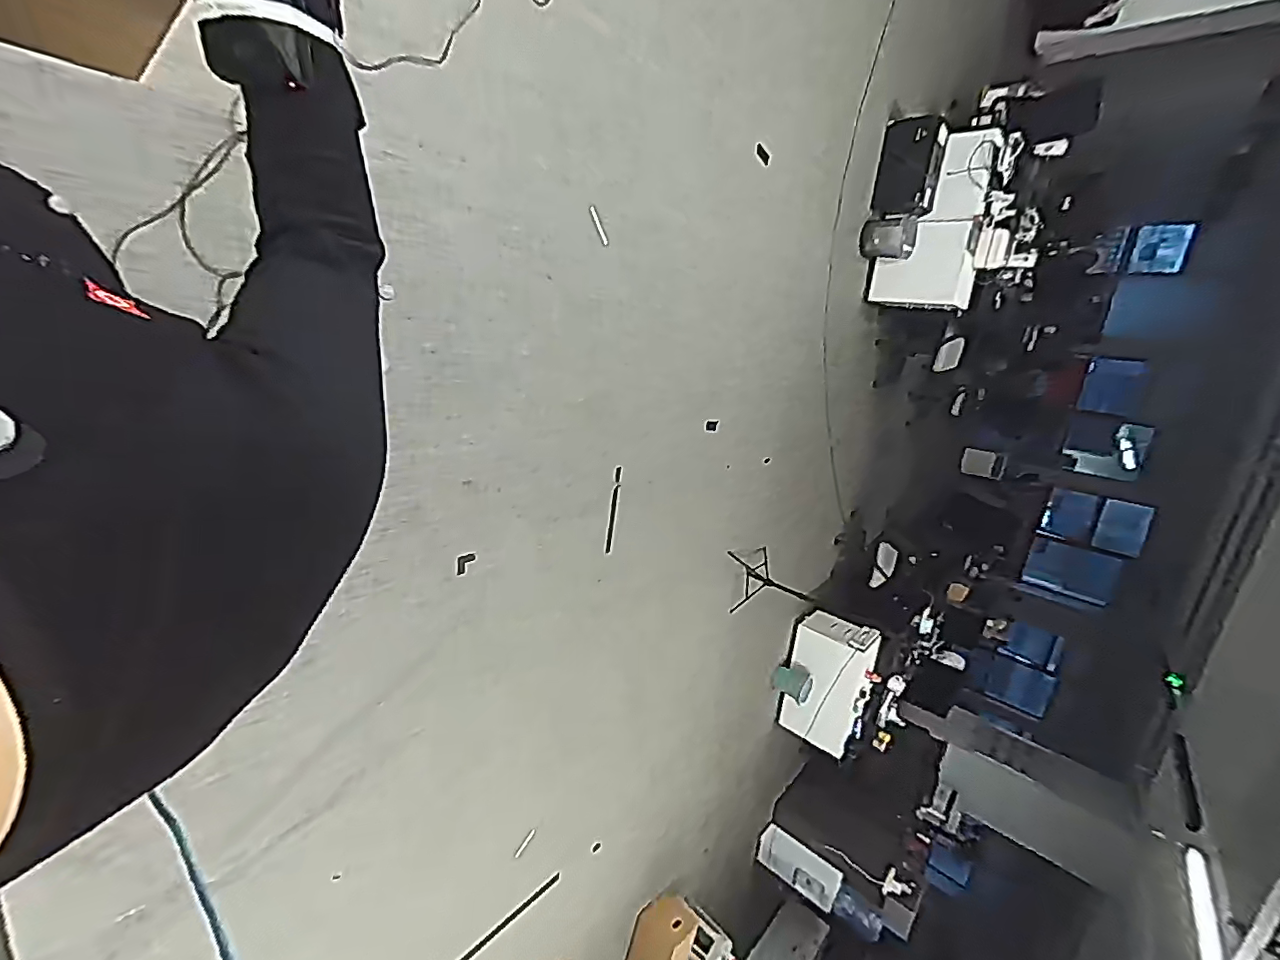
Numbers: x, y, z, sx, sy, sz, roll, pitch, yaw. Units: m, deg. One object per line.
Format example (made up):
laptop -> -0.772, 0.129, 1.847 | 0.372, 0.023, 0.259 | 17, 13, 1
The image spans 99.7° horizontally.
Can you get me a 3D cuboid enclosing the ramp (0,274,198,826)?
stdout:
ramp -> -1.172, 0.142, 0.959 | 0.509, 0.206, 0.991 | -13, 114, -46
